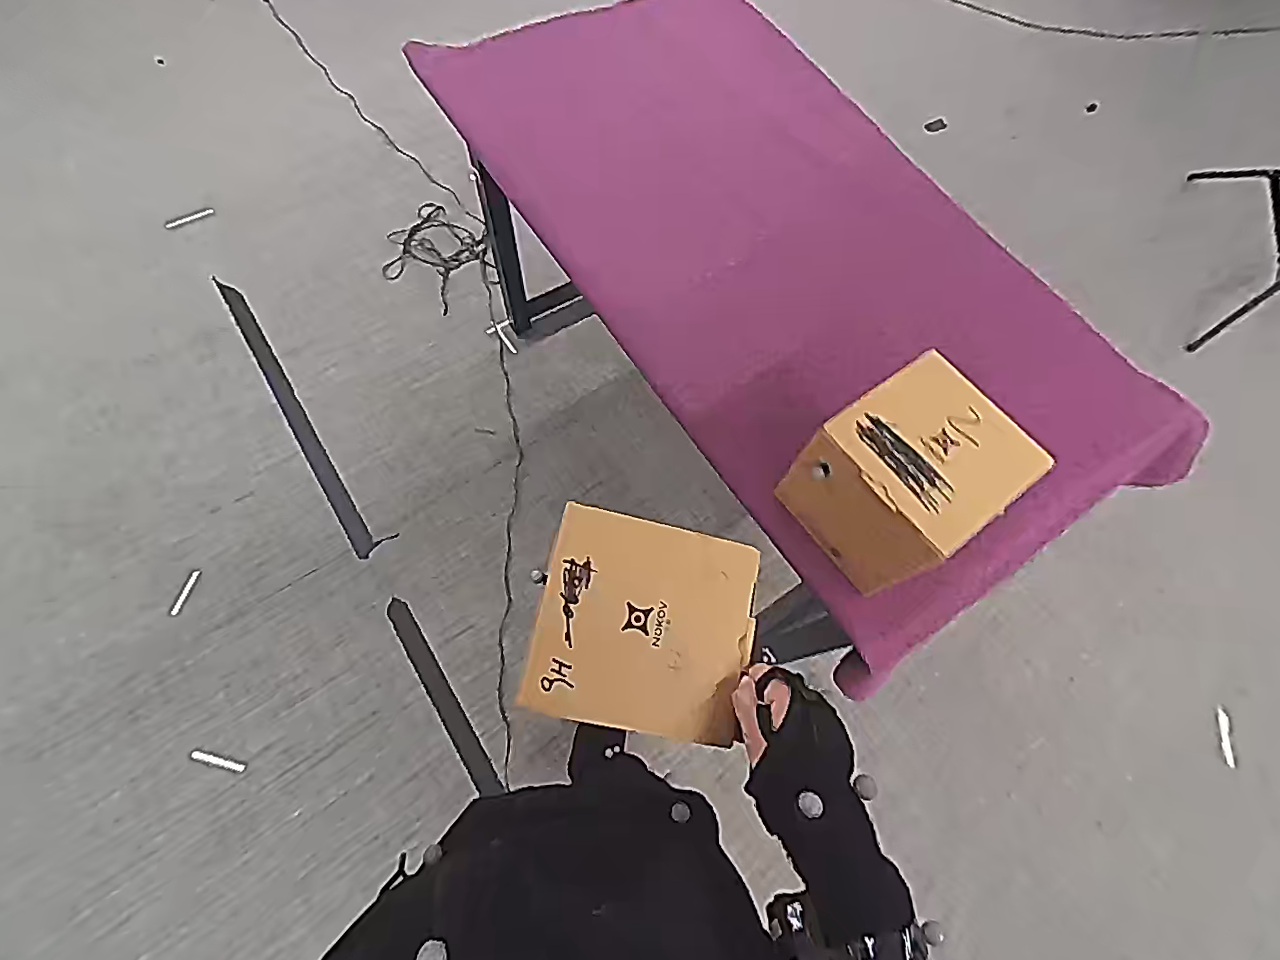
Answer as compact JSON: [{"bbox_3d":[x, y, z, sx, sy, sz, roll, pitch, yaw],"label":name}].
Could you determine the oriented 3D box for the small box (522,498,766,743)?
[{"bbox_3d":[-0.006,0.129,0.510,0.179,0.176,0.168,14,74,-9],"label":"small box"}]
